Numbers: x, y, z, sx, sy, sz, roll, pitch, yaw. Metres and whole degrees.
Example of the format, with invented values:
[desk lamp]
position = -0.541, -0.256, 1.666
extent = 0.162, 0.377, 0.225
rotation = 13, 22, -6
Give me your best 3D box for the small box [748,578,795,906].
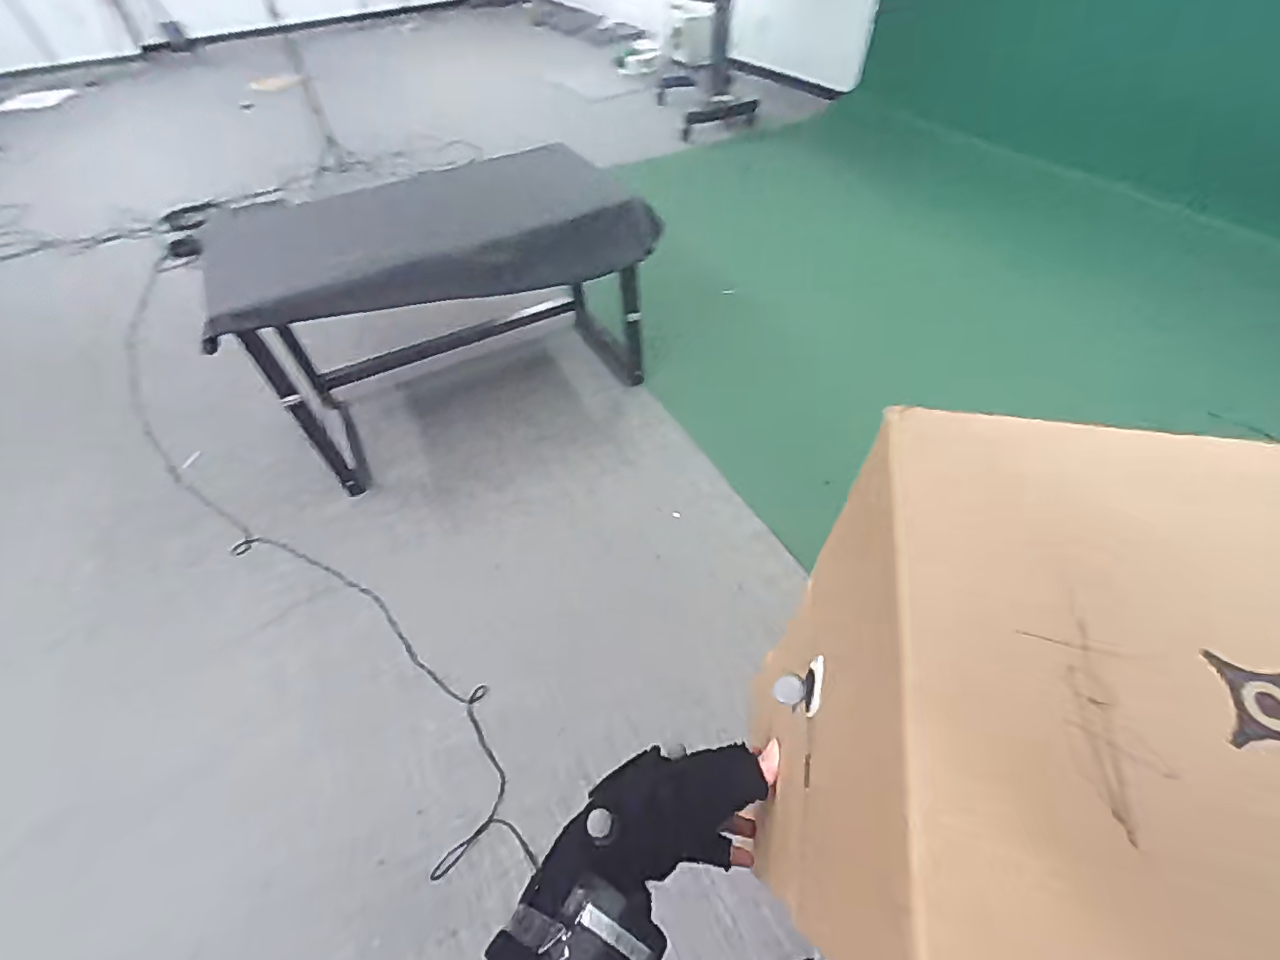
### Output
[small box]
position = 0.168, 0.176, 0.349
extent = 0.179, 0.176, 0.168
rotation = 3, 59, 8
